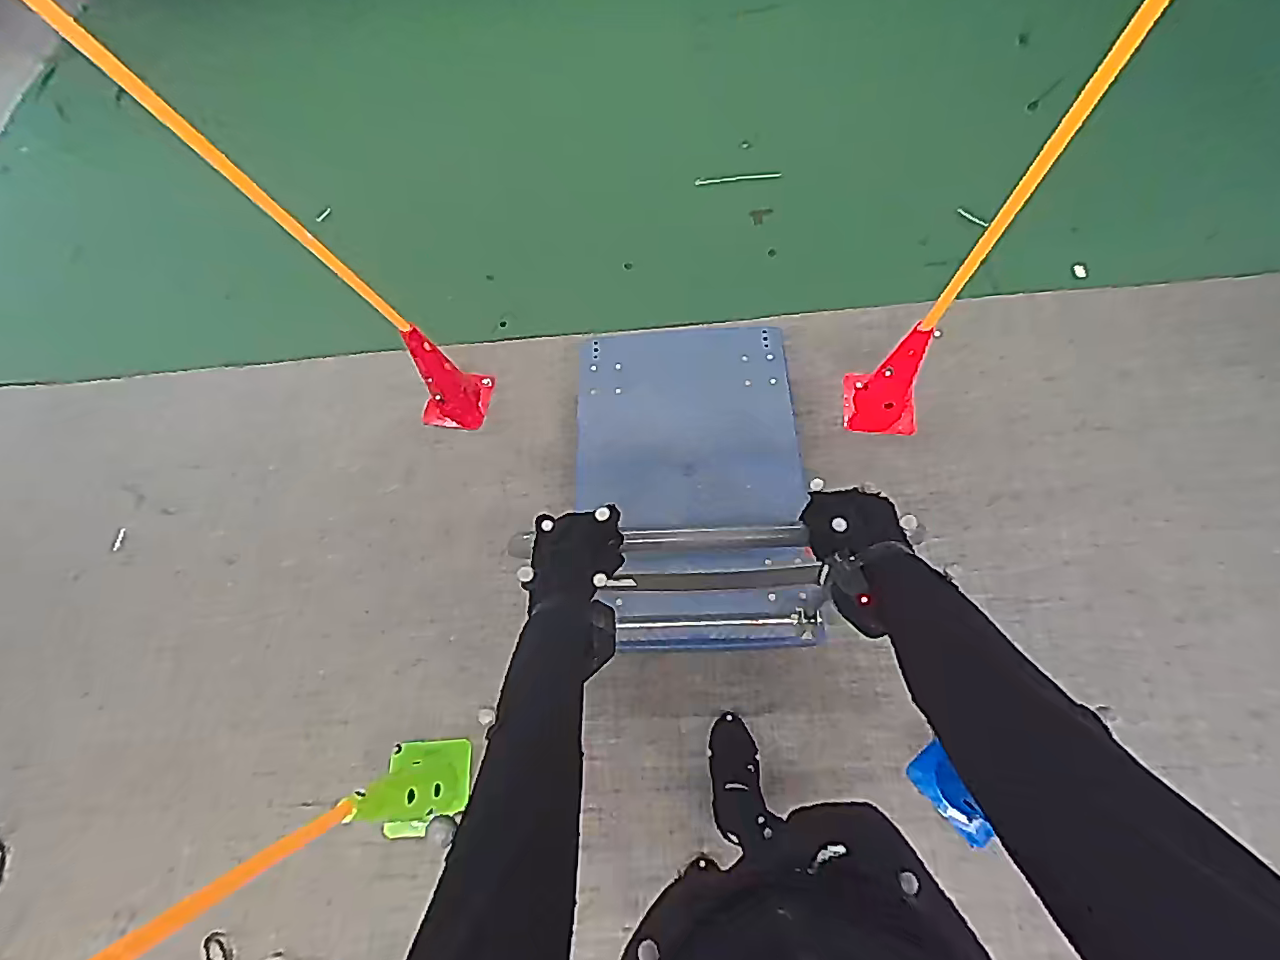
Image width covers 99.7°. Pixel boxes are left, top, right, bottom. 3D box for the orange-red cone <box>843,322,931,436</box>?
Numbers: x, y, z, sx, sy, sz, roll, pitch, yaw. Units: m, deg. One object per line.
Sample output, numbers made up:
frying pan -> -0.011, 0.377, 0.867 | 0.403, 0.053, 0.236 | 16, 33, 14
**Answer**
orange-red cone -> 0.691, -0.290, 1.445 | 0.198, 0.360, 0.199 | 6, 68, 8
